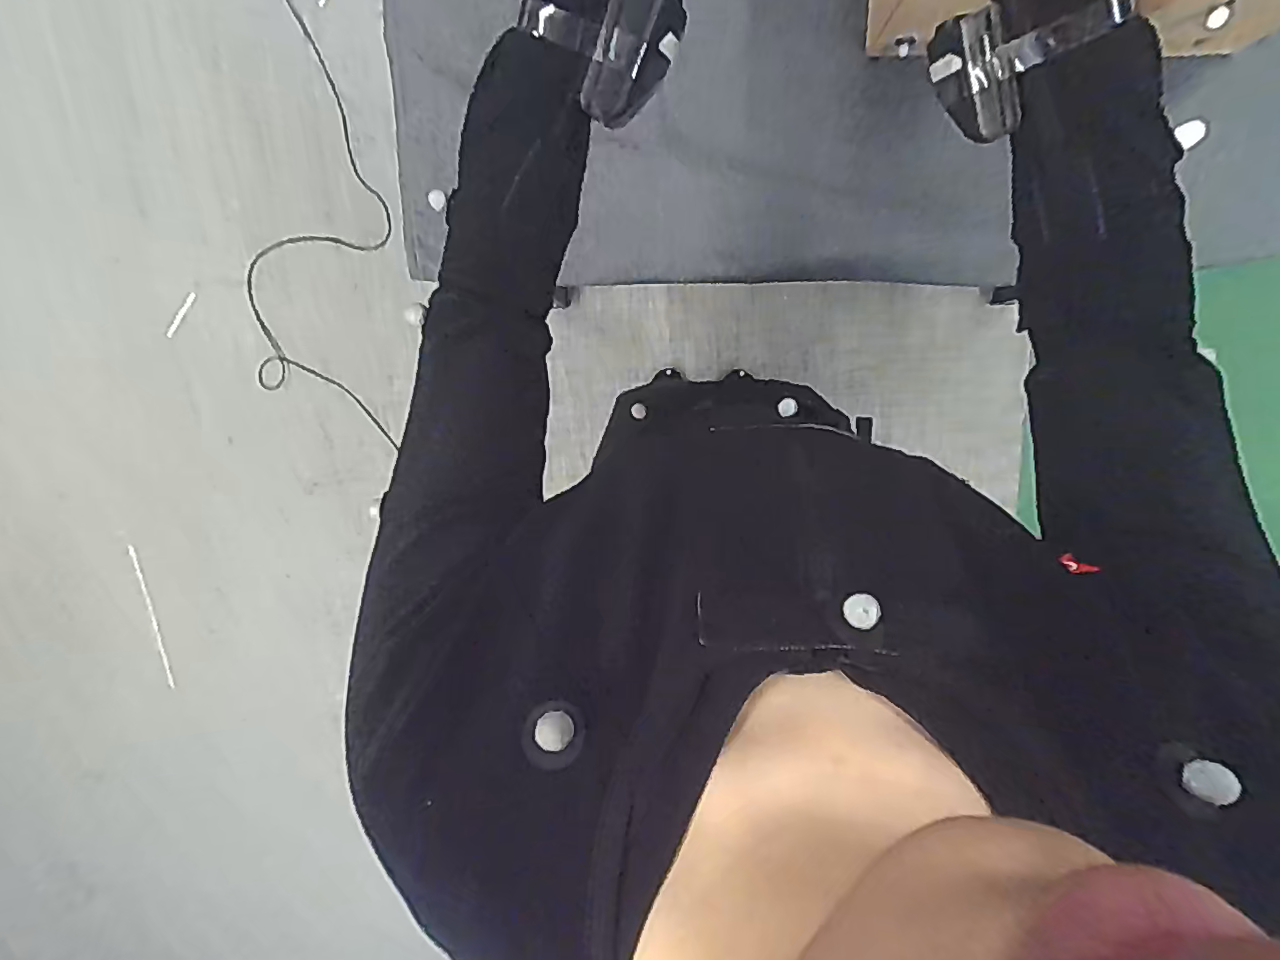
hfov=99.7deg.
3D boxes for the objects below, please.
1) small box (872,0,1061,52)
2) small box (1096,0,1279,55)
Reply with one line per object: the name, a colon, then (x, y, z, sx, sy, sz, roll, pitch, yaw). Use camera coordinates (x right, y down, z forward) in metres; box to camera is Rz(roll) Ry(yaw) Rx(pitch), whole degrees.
small box: (0.341, -0.554, 0.523, 0.168, 0.176, 0.179, 1, 101, 2)
small box: (0.589, -0.543, 0.517, 0.168, 0.176, 0.179, -1, 101, 3)
